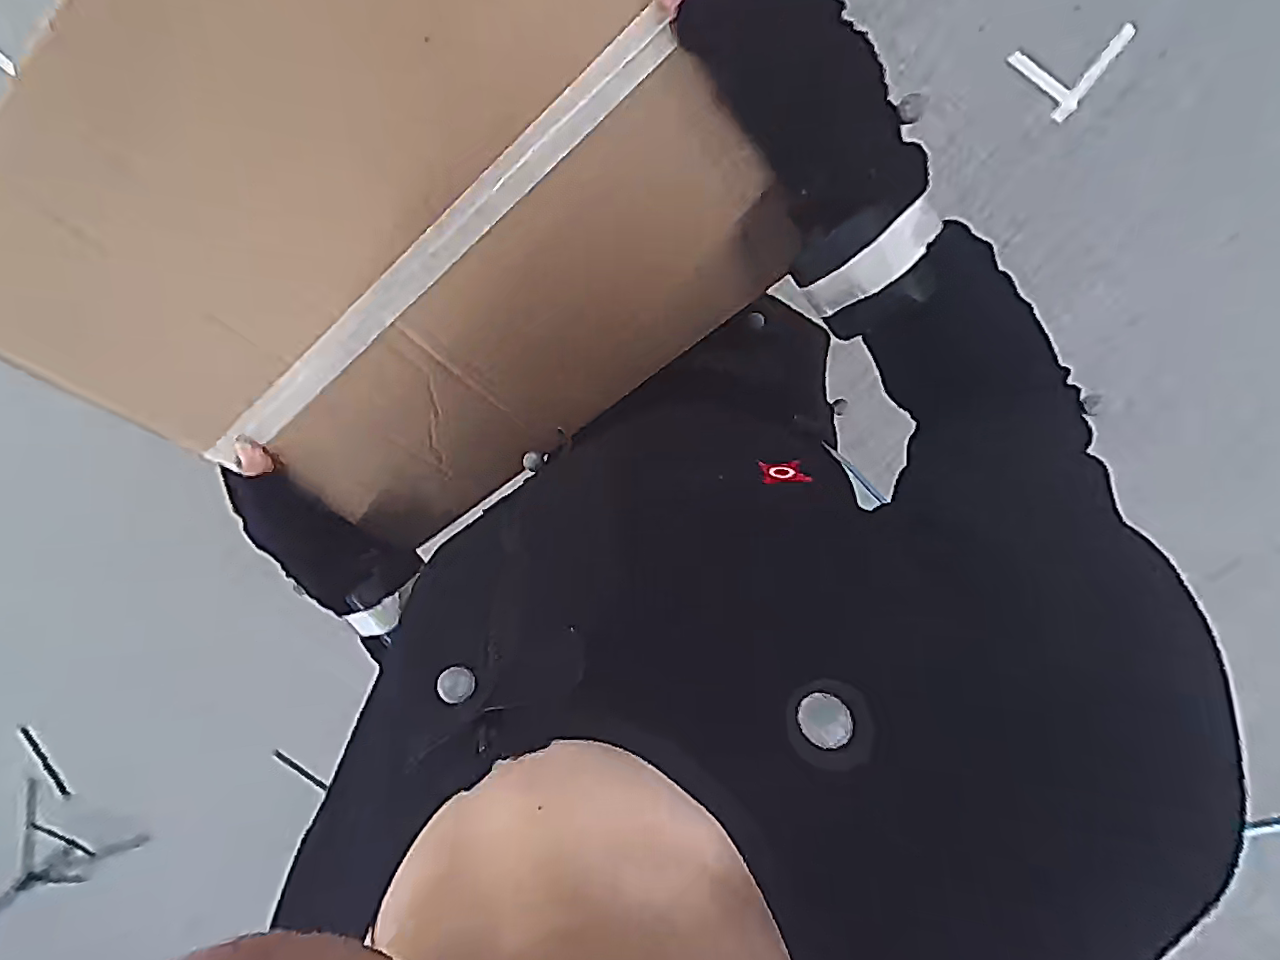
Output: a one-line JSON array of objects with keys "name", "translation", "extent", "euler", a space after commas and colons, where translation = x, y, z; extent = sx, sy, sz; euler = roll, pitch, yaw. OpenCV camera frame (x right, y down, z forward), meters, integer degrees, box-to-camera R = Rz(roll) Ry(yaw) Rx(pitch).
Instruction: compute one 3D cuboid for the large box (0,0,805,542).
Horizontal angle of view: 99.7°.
[{"name": "large box", "translation": [-0.156, -0.226, 0.431], "extent": [0.408, 0.320, 0.320], "euler": [-34, 132, 18]}]
